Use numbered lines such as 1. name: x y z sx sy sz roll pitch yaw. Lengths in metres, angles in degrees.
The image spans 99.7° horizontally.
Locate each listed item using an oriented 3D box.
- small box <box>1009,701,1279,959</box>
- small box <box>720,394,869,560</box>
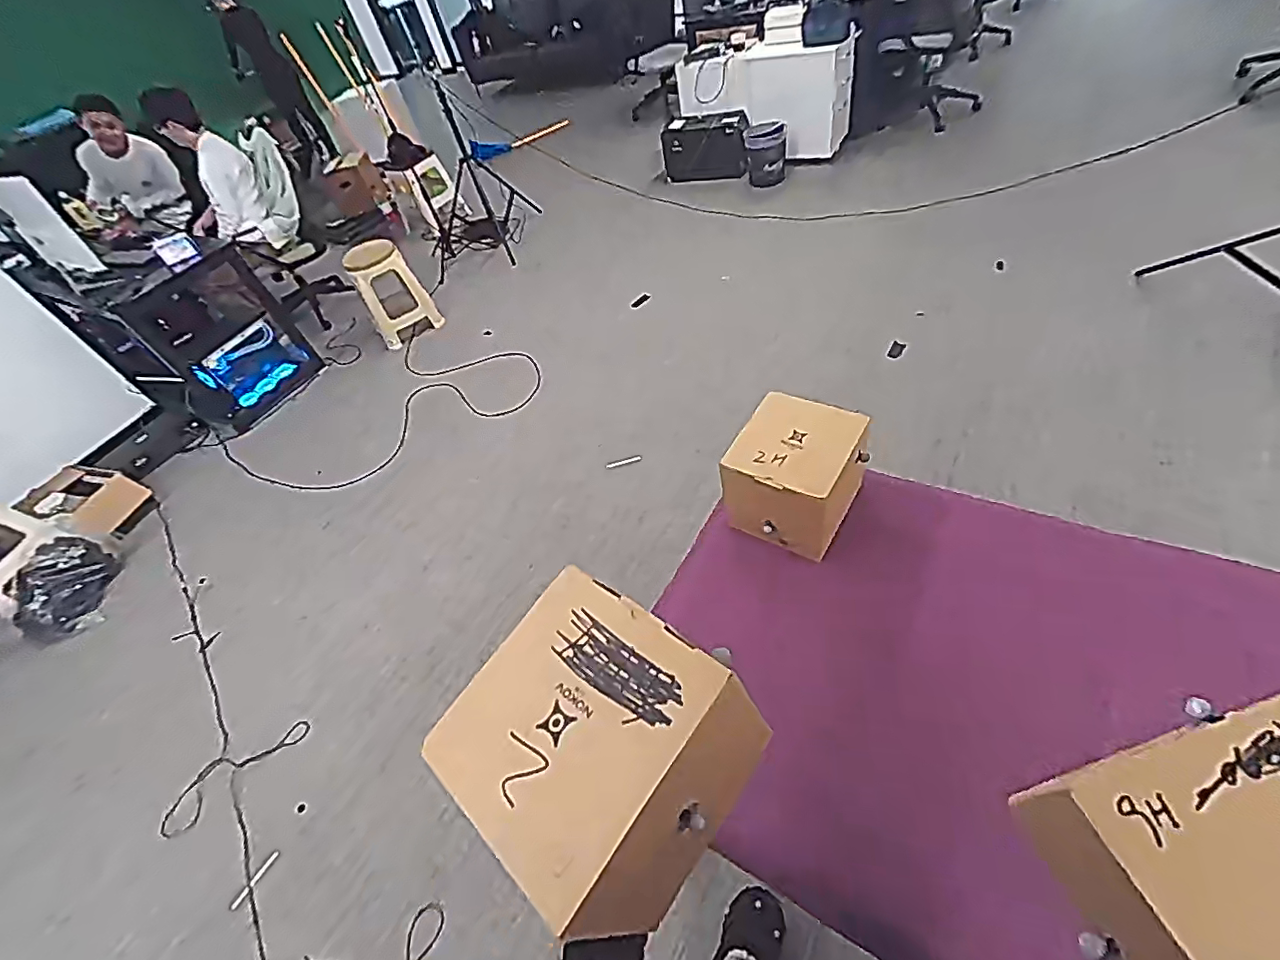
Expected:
1. small box: 0.370 0.251 0.324 0.168 0.176 0.179 -24 53 5
2. small box: 0.246 -0.005 0.870 0.168 0.176 0.179 22 61 30
